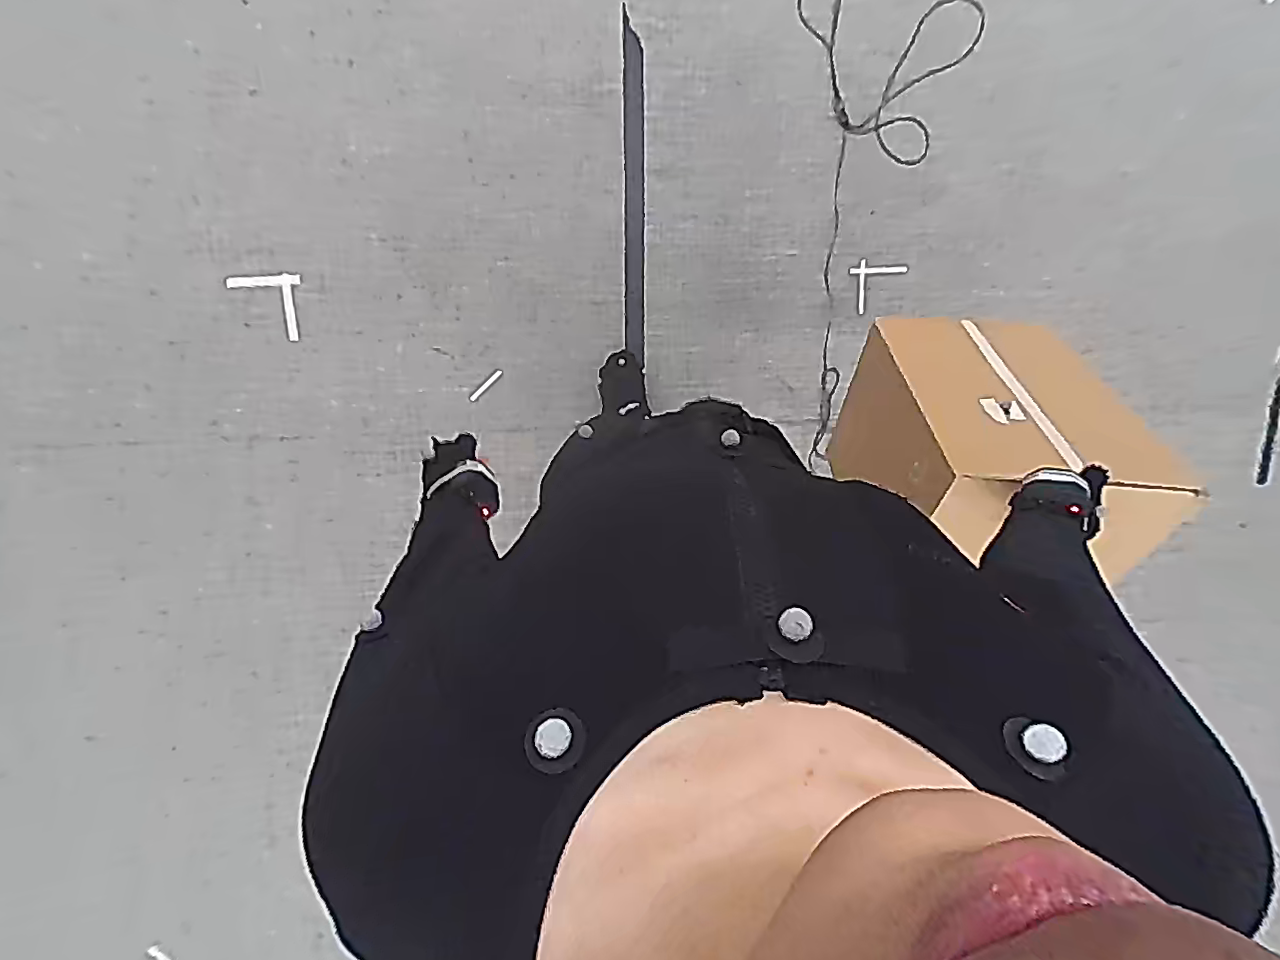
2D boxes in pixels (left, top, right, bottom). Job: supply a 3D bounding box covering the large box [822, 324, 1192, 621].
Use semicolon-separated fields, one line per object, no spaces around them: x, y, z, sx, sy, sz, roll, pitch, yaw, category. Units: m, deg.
0.544;-0.020;0.924;0.320;0.408;0.320;3;135;0;large box
